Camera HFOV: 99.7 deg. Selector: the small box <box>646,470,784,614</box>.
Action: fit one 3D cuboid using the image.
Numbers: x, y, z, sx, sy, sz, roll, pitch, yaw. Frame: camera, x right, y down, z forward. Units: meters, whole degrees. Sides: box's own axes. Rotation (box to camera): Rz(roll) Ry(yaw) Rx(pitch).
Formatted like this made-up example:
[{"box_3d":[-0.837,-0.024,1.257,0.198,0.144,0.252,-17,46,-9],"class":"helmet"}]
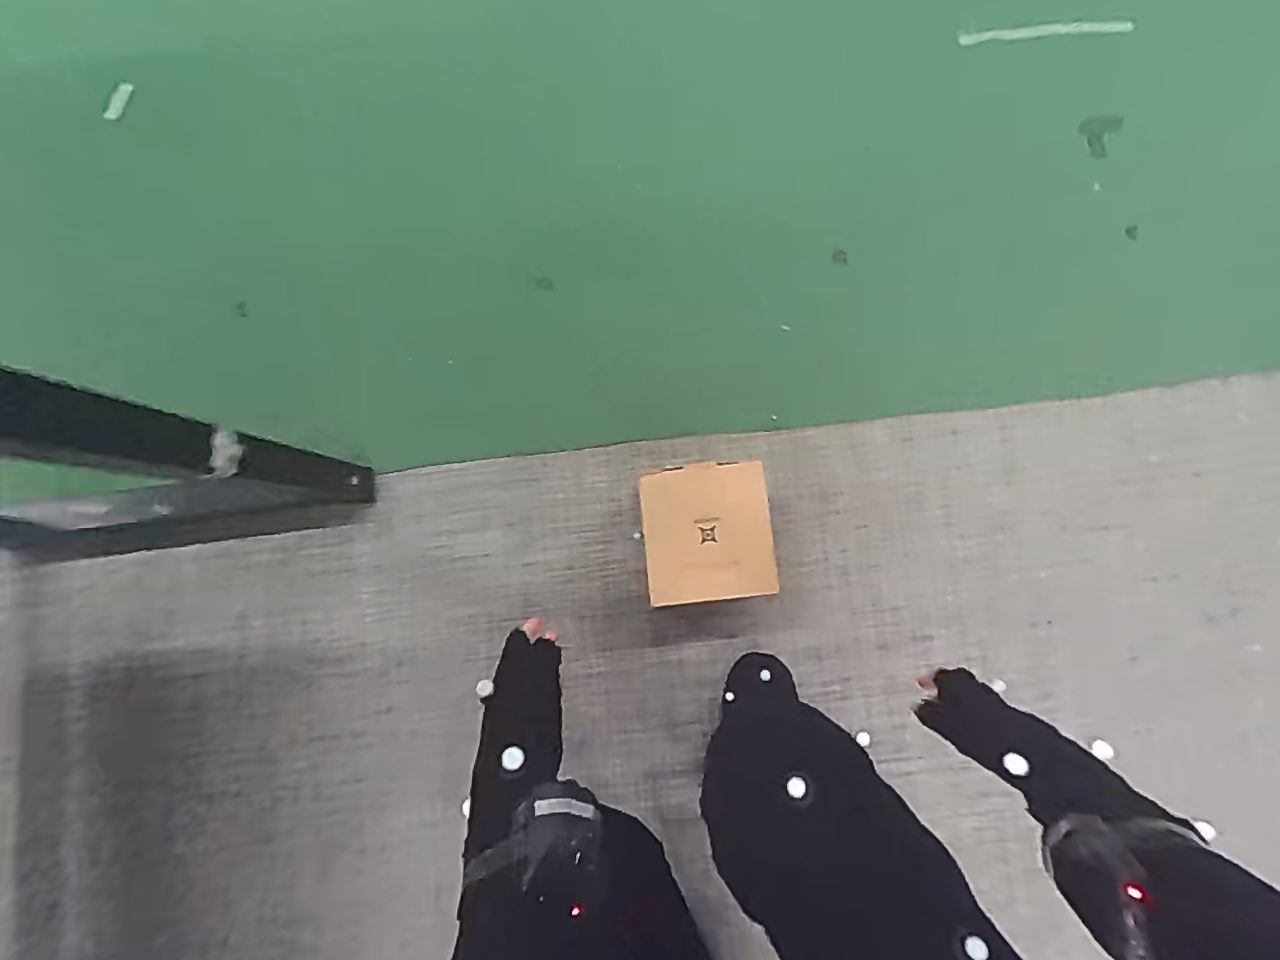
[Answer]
[{"box_3d":[0.096,0.089,0.777,0.168,0.176,0.179,-6,84,1],"class":"small box"}]
